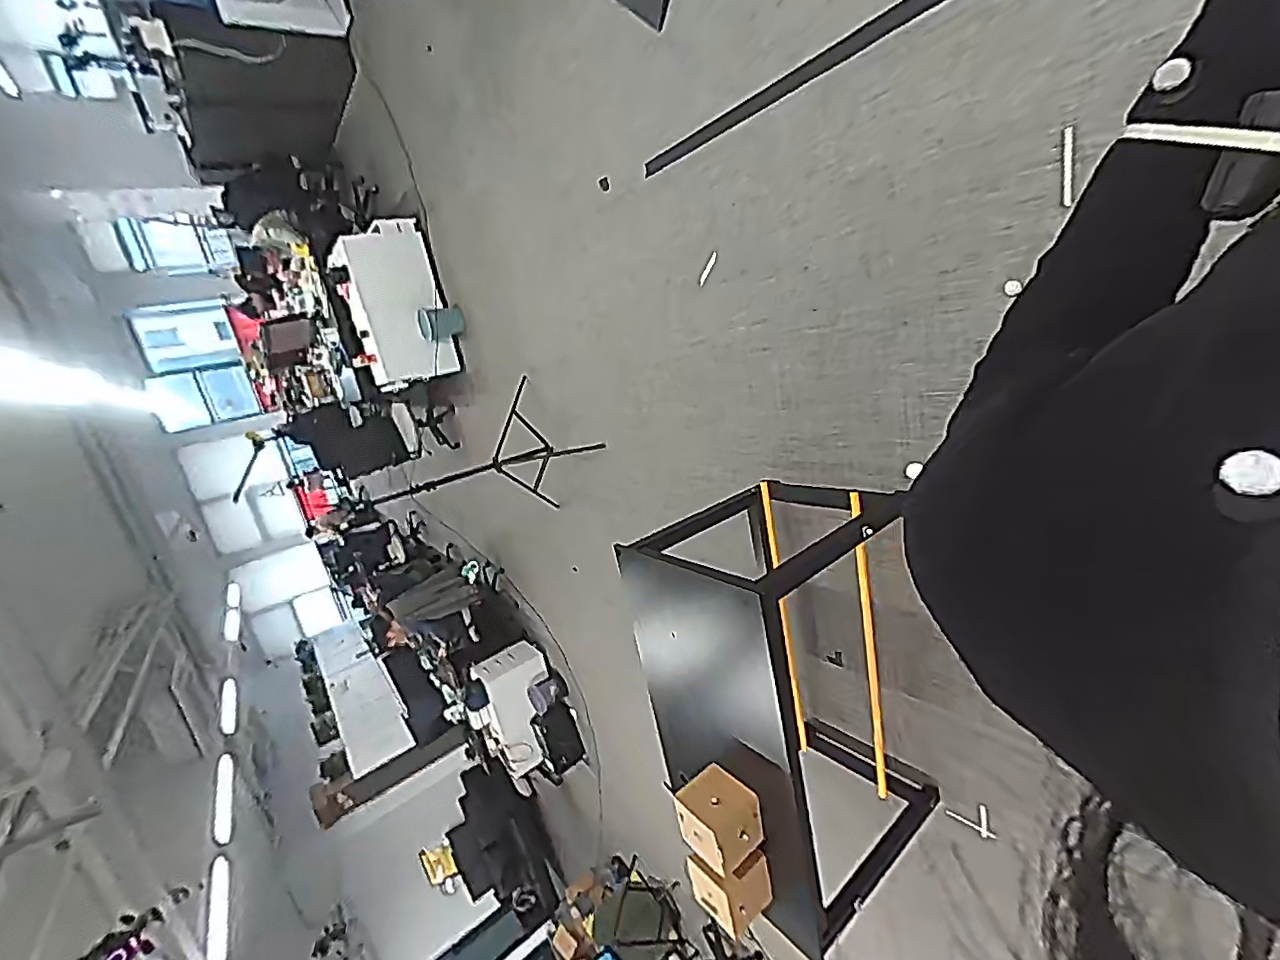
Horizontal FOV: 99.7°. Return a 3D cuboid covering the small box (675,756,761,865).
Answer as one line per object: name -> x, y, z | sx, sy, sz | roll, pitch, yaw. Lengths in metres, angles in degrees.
small box -> 0.232, 0.943, 1.563 | 0.179, 0.176, 0.168 | 11, 117, 52

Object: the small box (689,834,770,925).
small box -> 0.274, 1.162, 1.630 | 0.168, 0.176, 0.179 | 10, 116, 53
